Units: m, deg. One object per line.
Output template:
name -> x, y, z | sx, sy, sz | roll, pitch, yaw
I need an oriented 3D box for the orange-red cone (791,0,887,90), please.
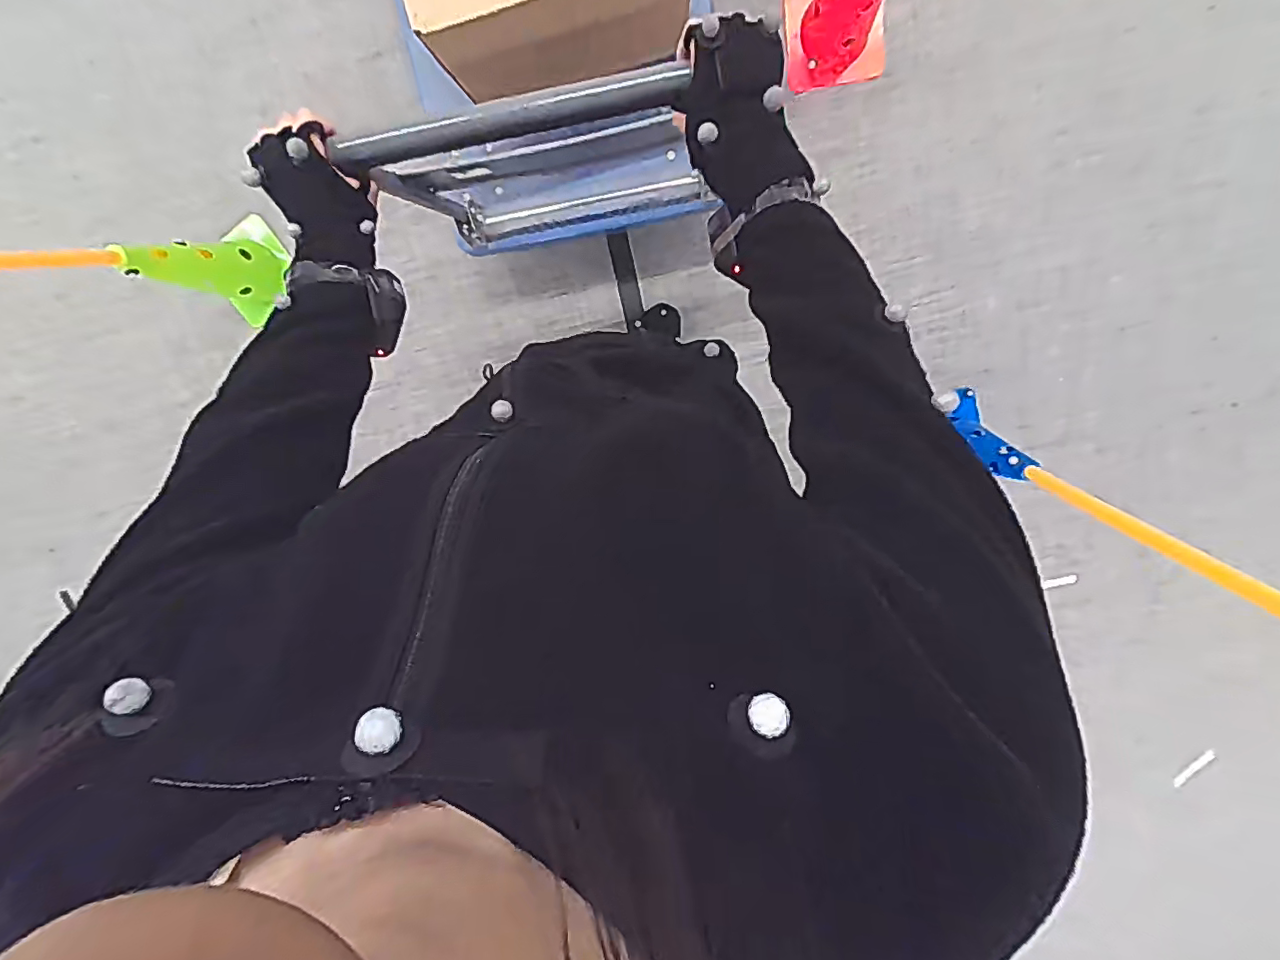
orange-red cone -> 0.411, -0.892, 0.970 | 0.199, 0.360, 0.198 | -6, 106, 4
